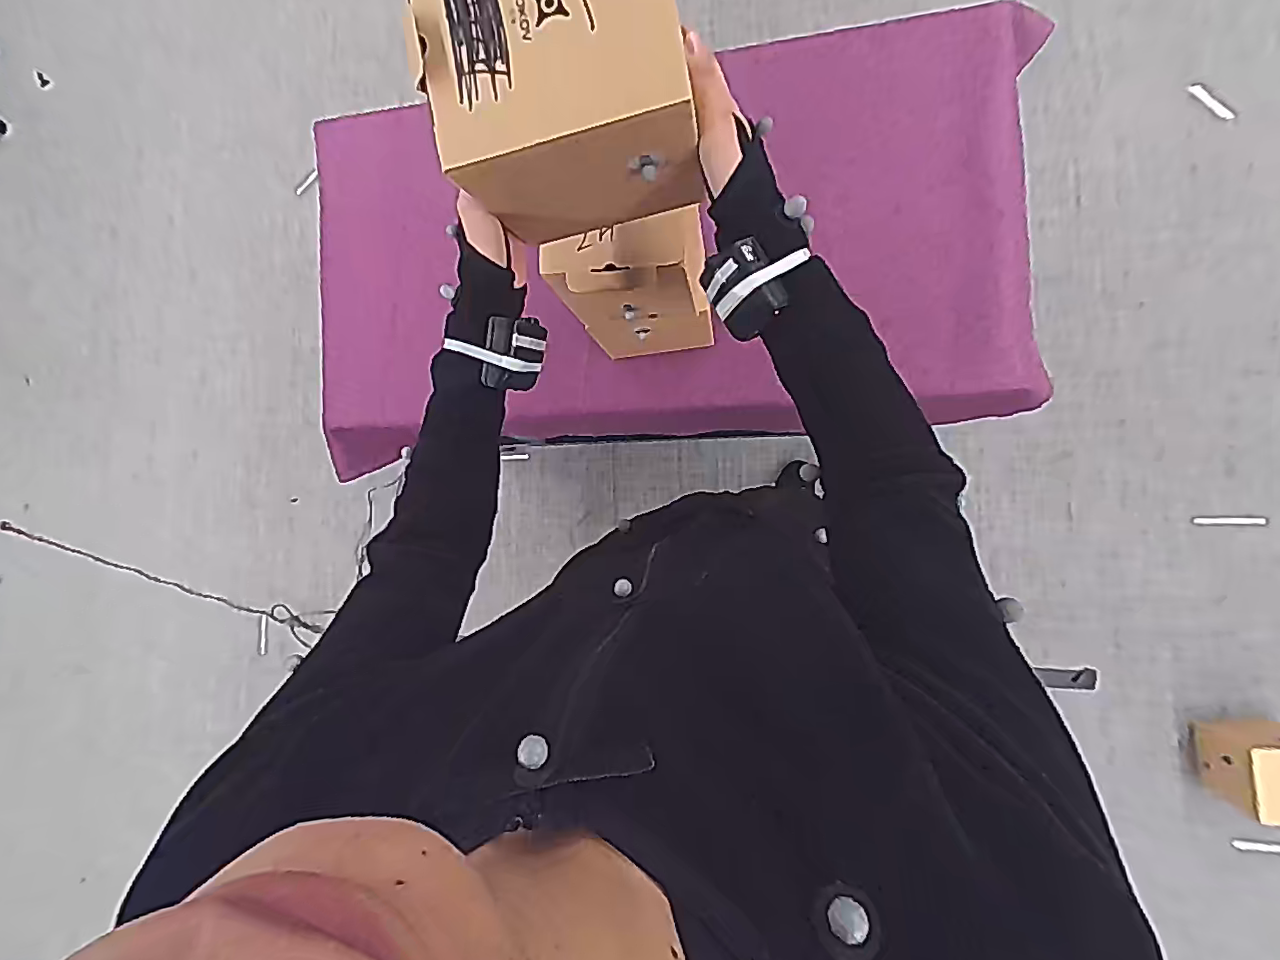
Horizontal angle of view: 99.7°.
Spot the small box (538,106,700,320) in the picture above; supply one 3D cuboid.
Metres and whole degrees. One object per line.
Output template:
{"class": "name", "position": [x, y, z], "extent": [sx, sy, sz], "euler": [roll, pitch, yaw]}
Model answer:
{"class": "small box", "position": [-0.016, -0.312, 0.667], "extent": [0.168, 0.176, 0.179], "euler": [0, 88, 11]}

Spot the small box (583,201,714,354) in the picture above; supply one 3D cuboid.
{"class": "small box", "position": [0.015, -0.302, 0.829], "extent": [0.179, 0.176, 0.168], "euler": [-6, 87, 10]}

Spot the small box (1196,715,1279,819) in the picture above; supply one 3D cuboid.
{"class": "small box", "position": [1.462, 0.666, 1.265], "extent": [0.179, 0.176, 0.168], "euler": [-5, 88, 10]}
